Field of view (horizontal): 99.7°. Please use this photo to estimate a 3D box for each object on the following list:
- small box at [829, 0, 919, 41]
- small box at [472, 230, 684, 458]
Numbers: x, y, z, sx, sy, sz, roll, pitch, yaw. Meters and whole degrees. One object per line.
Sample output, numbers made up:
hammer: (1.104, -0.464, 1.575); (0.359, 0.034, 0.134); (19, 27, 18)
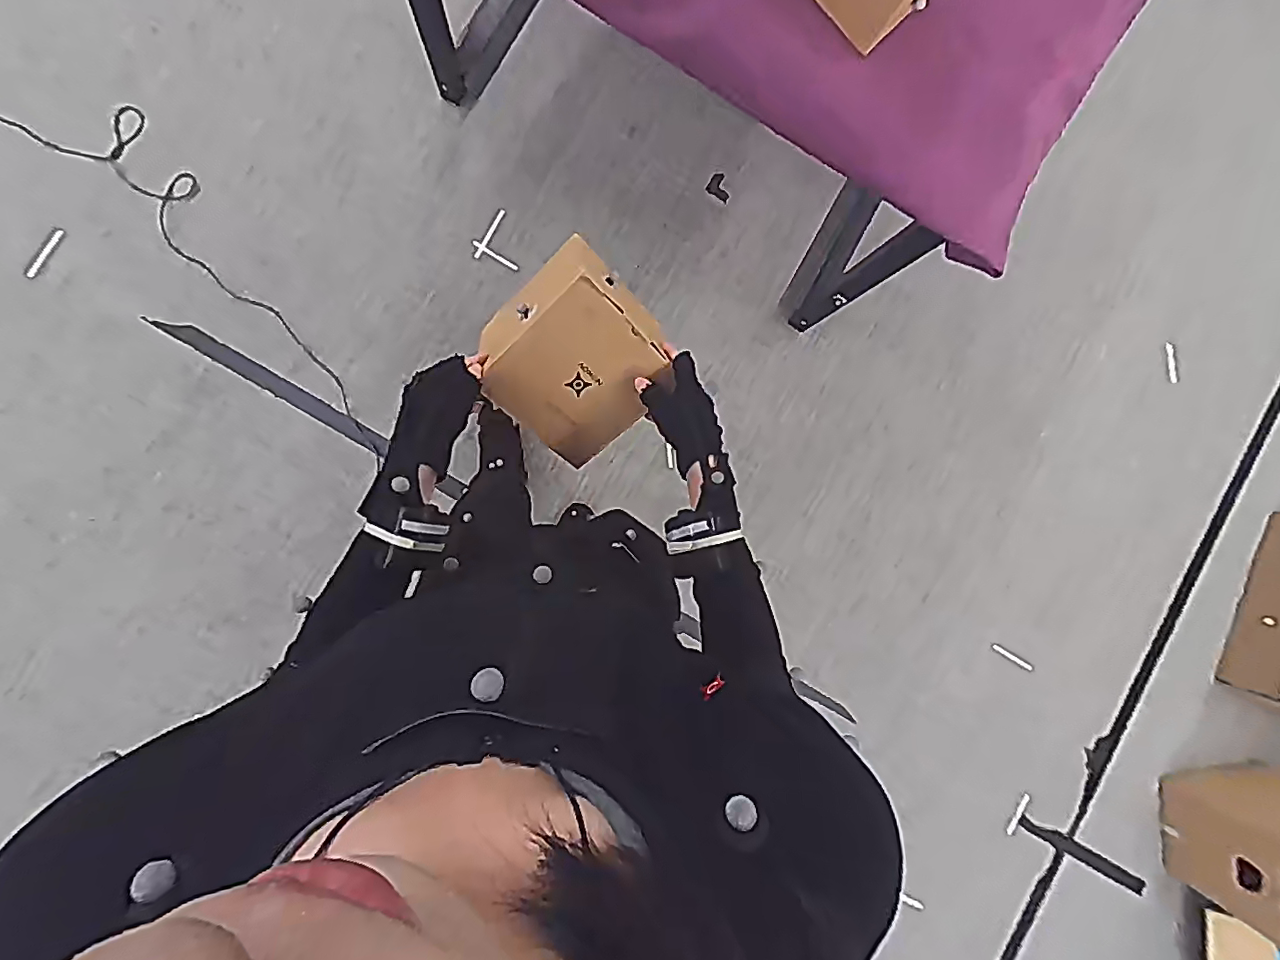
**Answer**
small box: (0.351, -0.776, 0.745); (0.168, 0.176, 0.179); (-45, 96, -6)
small box: (-0.076, -0.167, 0.650); (0.179, 0.176, 0.168); (-39, 122, 18)
